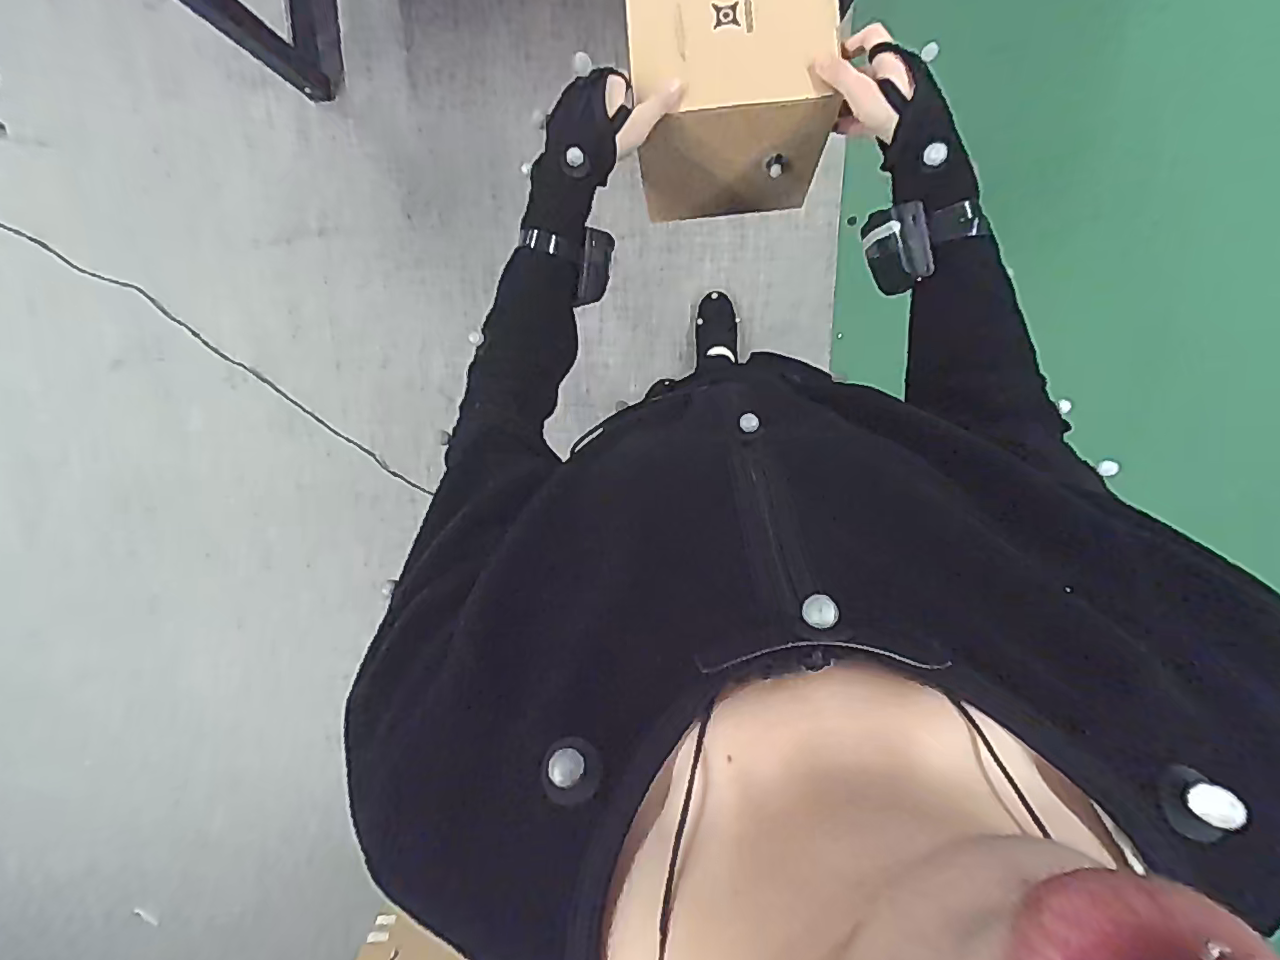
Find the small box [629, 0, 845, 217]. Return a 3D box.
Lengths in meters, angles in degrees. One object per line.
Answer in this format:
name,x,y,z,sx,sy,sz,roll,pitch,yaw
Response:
small box,0.084,-0.383,0.527,0.179,0.176,0.168,-3,86,5
